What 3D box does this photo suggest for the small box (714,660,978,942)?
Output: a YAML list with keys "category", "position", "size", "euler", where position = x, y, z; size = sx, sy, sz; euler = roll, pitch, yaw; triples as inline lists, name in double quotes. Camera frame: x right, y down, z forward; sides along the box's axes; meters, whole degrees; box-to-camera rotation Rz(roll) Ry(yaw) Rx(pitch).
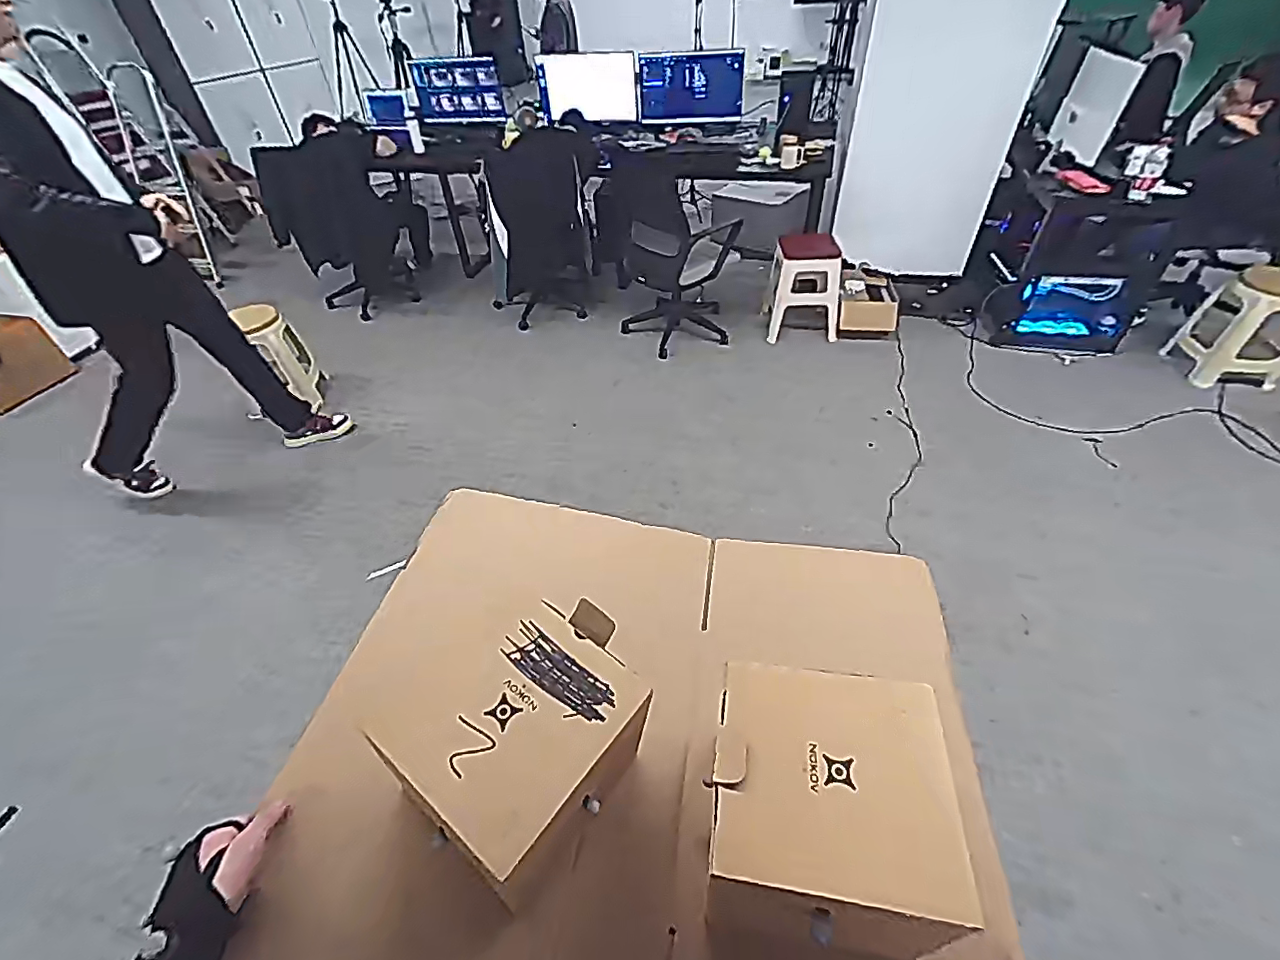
- category: "small box"
  position: [0.161, 0.287, 0.484]
  size: [0.179, 0.176, 0.168]
  euler: [3, 44, 11]
